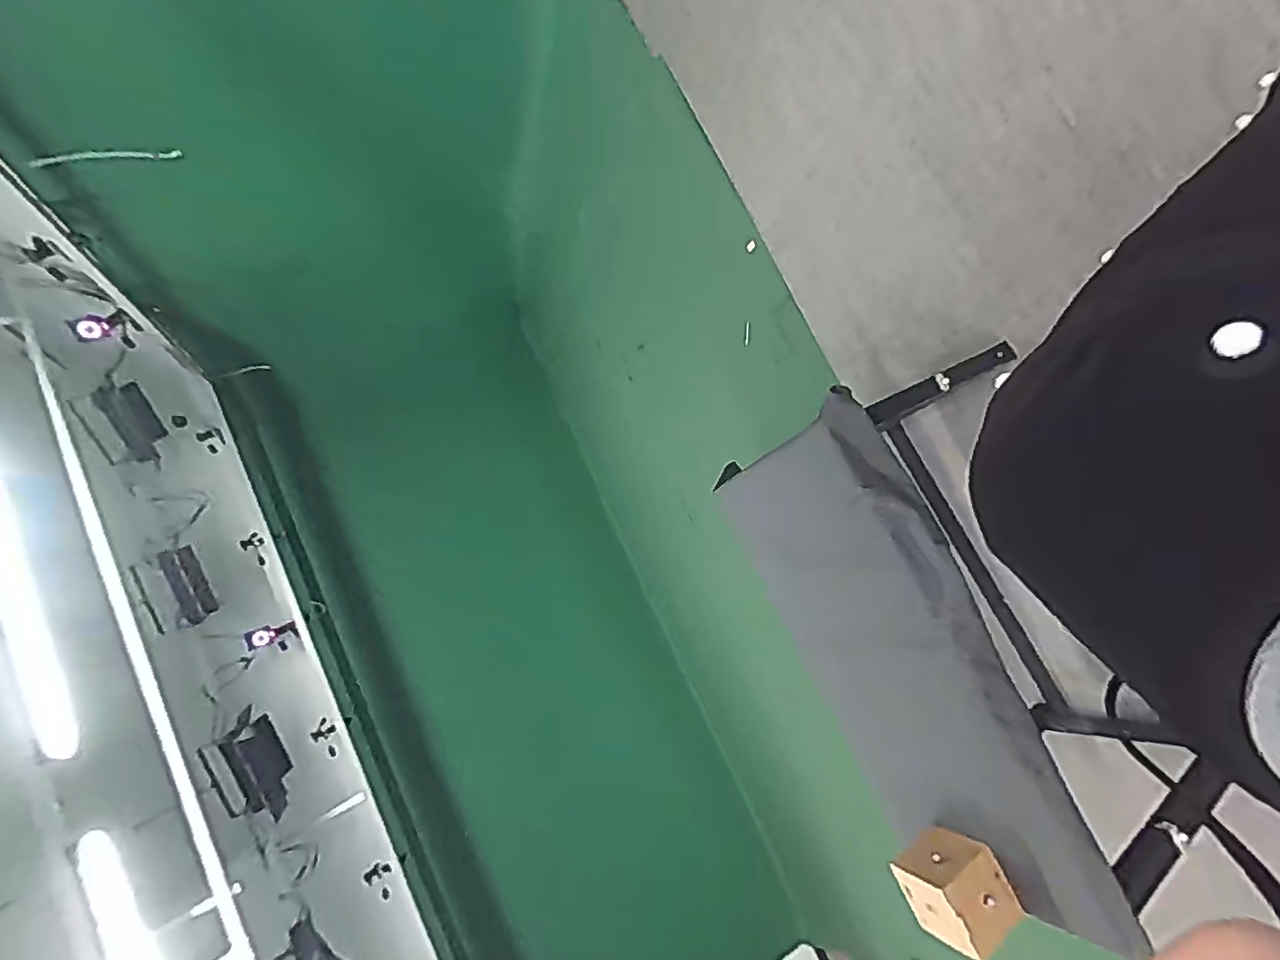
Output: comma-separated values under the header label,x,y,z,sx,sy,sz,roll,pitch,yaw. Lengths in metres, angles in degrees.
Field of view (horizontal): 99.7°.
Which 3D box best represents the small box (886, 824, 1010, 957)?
label,x,y,z,sx,sy,sz,roll,pitch,yaw
small box,0.746,0.973,1.305,0.168,0.176,0.179,65,156,9
